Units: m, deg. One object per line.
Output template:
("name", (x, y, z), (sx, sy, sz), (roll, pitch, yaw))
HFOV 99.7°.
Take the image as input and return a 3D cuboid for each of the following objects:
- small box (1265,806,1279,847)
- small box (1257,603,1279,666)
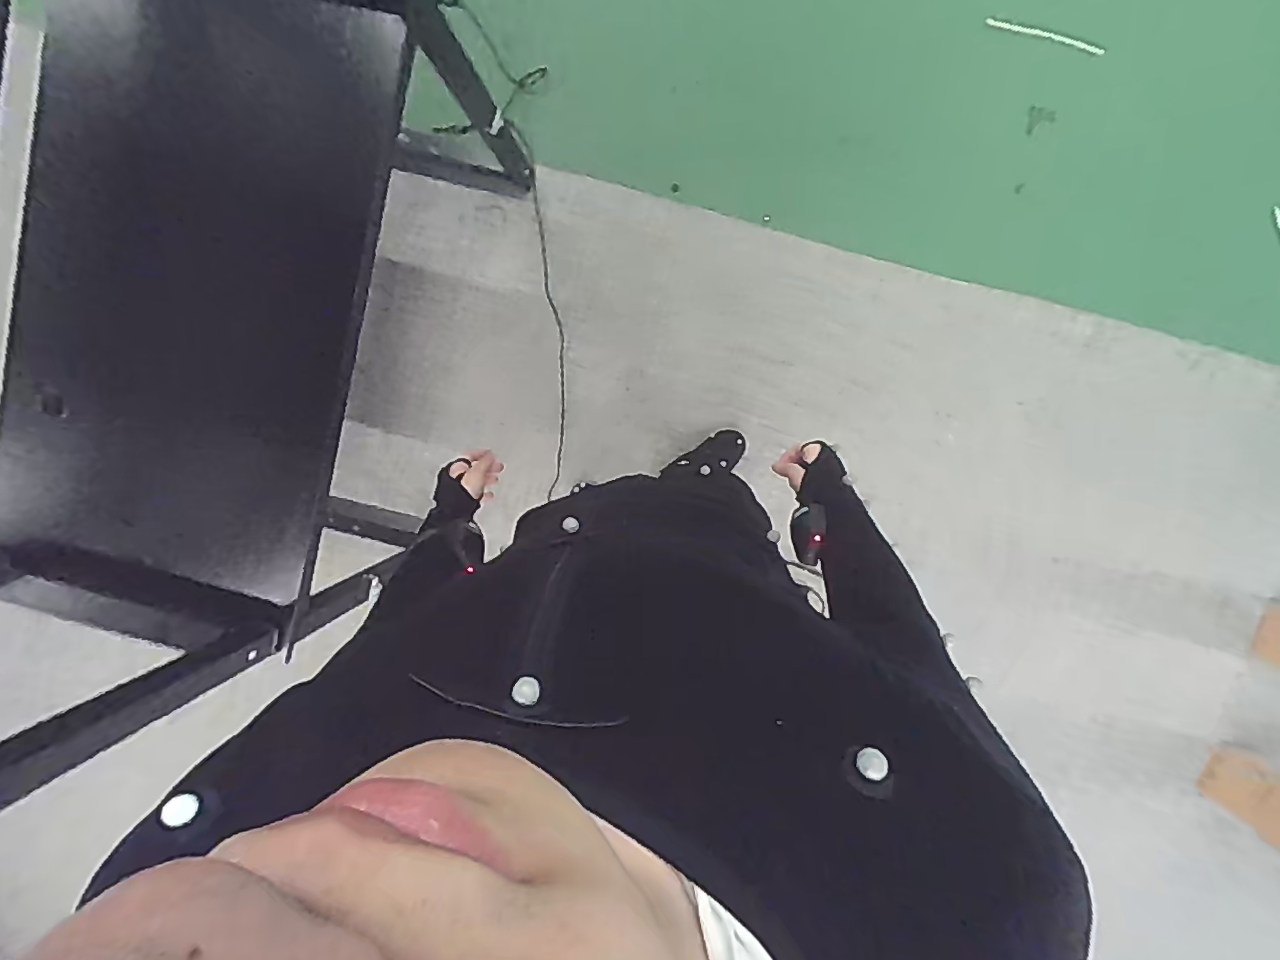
("small box", (1.754, 0.902, 1.351), (0.168, 0.176, 0.179), (17, 97, 2))
("small box", (1.864, 0.454, 1.469), (0.168, 0.176, 0.179), (15, 97, 2))
